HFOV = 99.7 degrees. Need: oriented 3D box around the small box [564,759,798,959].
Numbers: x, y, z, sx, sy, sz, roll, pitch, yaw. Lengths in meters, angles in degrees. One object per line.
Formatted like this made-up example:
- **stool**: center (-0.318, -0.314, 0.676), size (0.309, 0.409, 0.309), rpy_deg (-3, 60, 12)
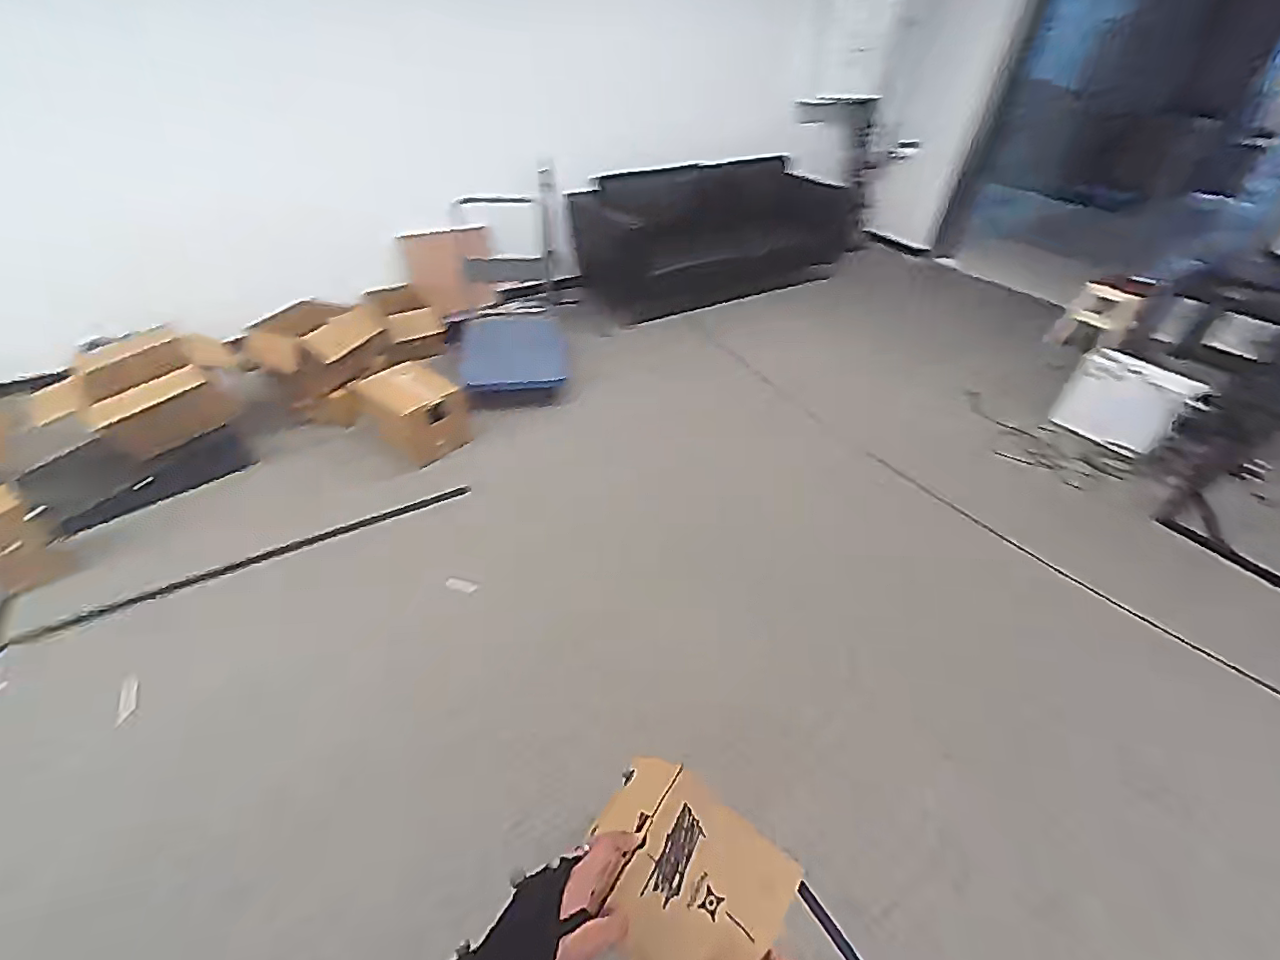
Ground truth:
- **small box**: center (0.036, 0.444, 0.616), size (0.179, 0.176, 0.168), rpy_deg (40, 62, 0)
